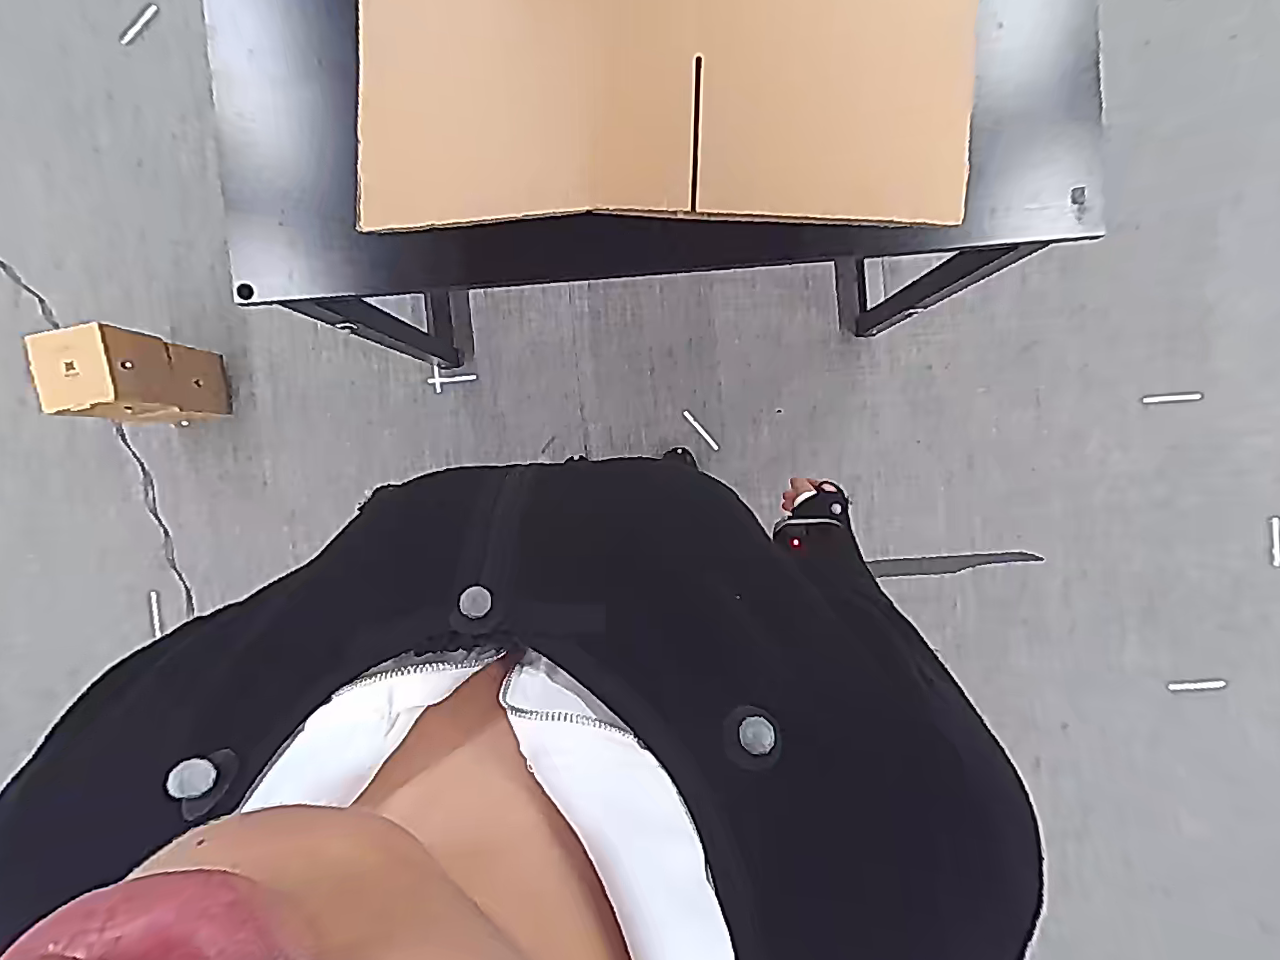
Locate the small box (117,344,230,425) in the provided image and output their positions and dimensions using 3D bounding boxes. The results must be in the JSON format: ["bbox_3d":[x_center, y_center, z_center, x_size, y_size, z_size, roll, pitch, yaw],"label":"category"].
[{"bbox_3d":[-1.228,-0.244,1.419,0.168,0.176,0.179,-8,93,1],"label":"small box"}]

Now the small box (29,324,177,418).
[{"bbox_3d":[-1.232,-0.243,1.257,0.168,0.176,0.179,-11,91,0],"label":"small box"}]
